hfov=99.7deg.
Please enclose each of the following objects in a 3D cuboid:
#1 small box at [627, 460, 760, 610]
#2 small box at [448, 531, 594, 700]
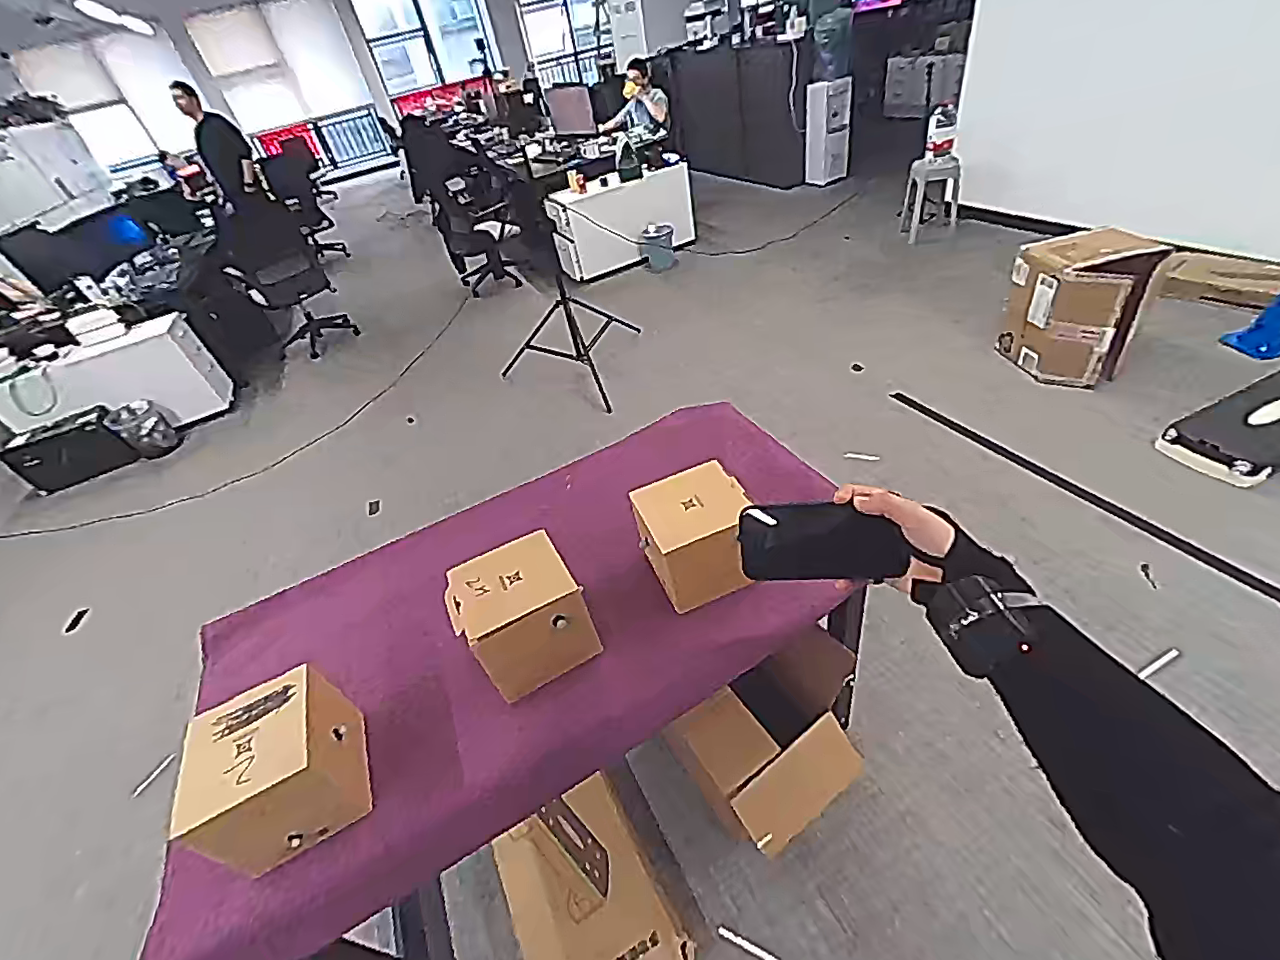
[{"bbox_3d":[0.098,0.099,0.960,0.179,0.176,0.168,-21,41,-9],"label":"small box"},{"bbox_3d":[-0.188,0.223,0.896,0.179,0.176,0.168,-27,39,-15],"label":"small box"}]
